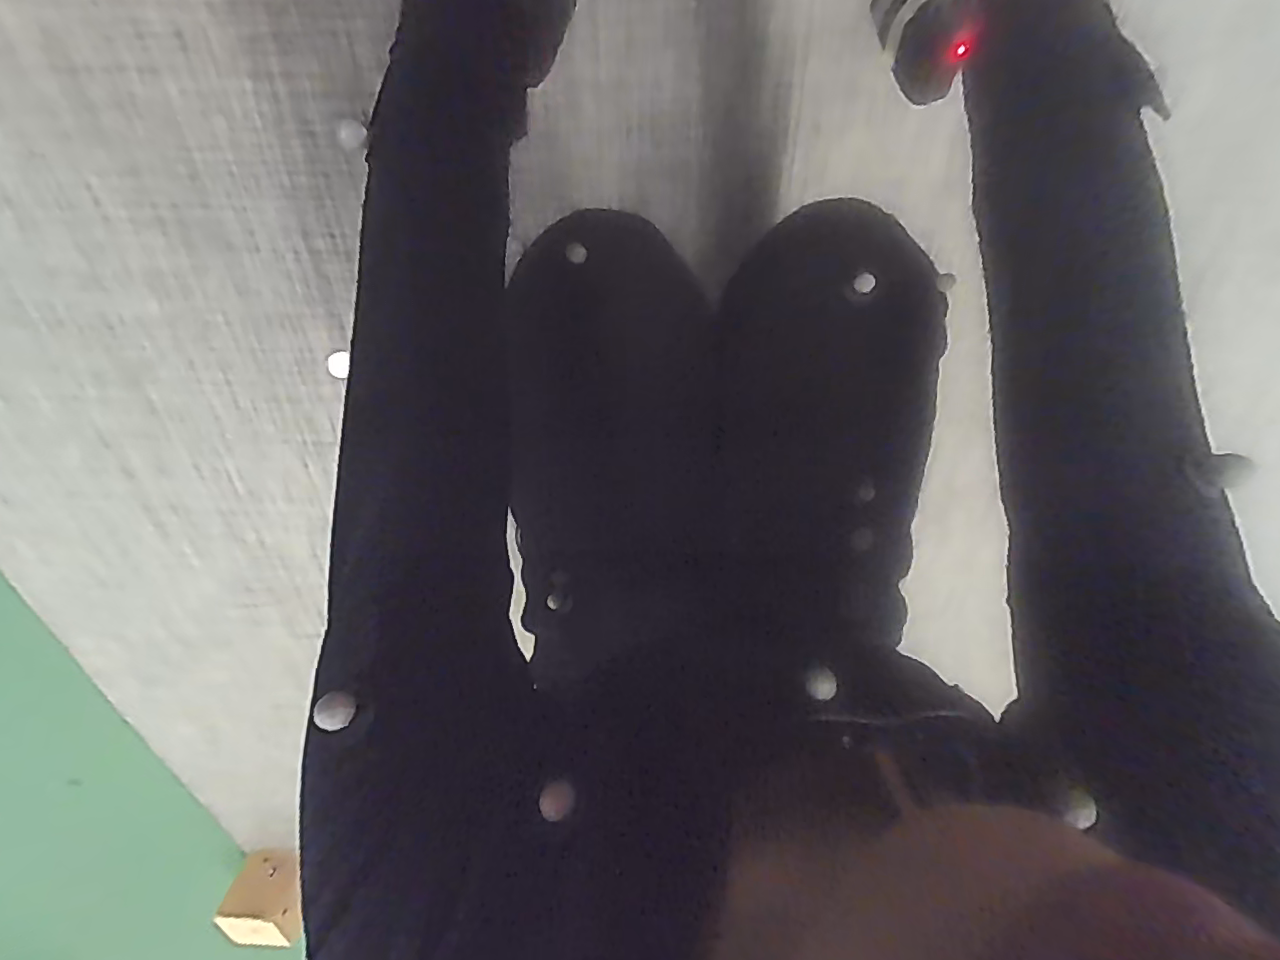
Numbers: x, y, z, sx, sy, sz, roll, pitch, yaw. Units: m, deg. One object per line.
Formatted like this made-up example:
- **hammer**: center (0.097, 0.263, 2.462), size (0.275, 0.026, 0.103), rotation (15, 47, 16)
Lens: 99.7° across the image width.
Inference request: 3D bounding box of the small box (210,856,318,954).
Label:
- **small box**: center (-1.052, 1.204, 1.535), size (0.168, 0.176, 0.179), rotation (2, 121, 1)
